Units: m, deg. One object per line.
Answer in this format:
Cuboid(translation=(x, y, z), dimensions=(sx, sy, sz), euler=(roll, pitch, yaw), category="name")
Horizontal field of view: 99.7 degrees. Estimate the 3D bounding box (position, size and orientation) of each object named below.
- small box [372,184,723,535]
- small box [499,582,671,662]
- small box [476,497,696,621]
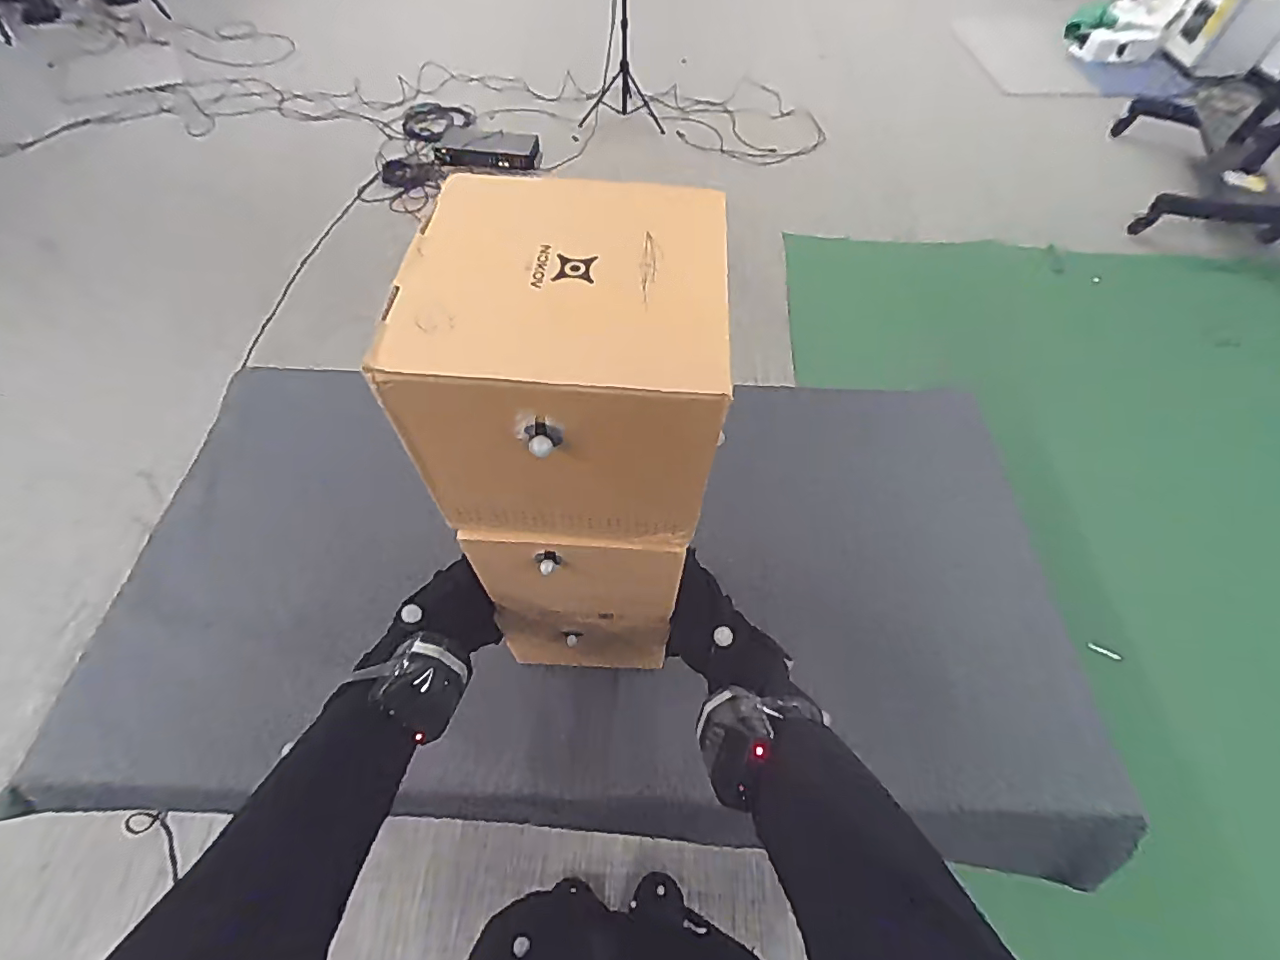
Cuboid(translation=(-0.042, -0.072, 0.371), dimensions=(0.179, 0.176, 0.168), euler=(4, 59, 0), category="small box")
Cuboid(translation=(-0.052, 0.110, 0.641), dimensions=(0.179, 0.176, 0.168), euler=(2, 57, 0), category="small box")
Cuboid(translation=(-0.042, 0.019, 0.509), dimensions=(0.168, 0.176, 0.179), euler=(1, 57, -2), category="small box")
